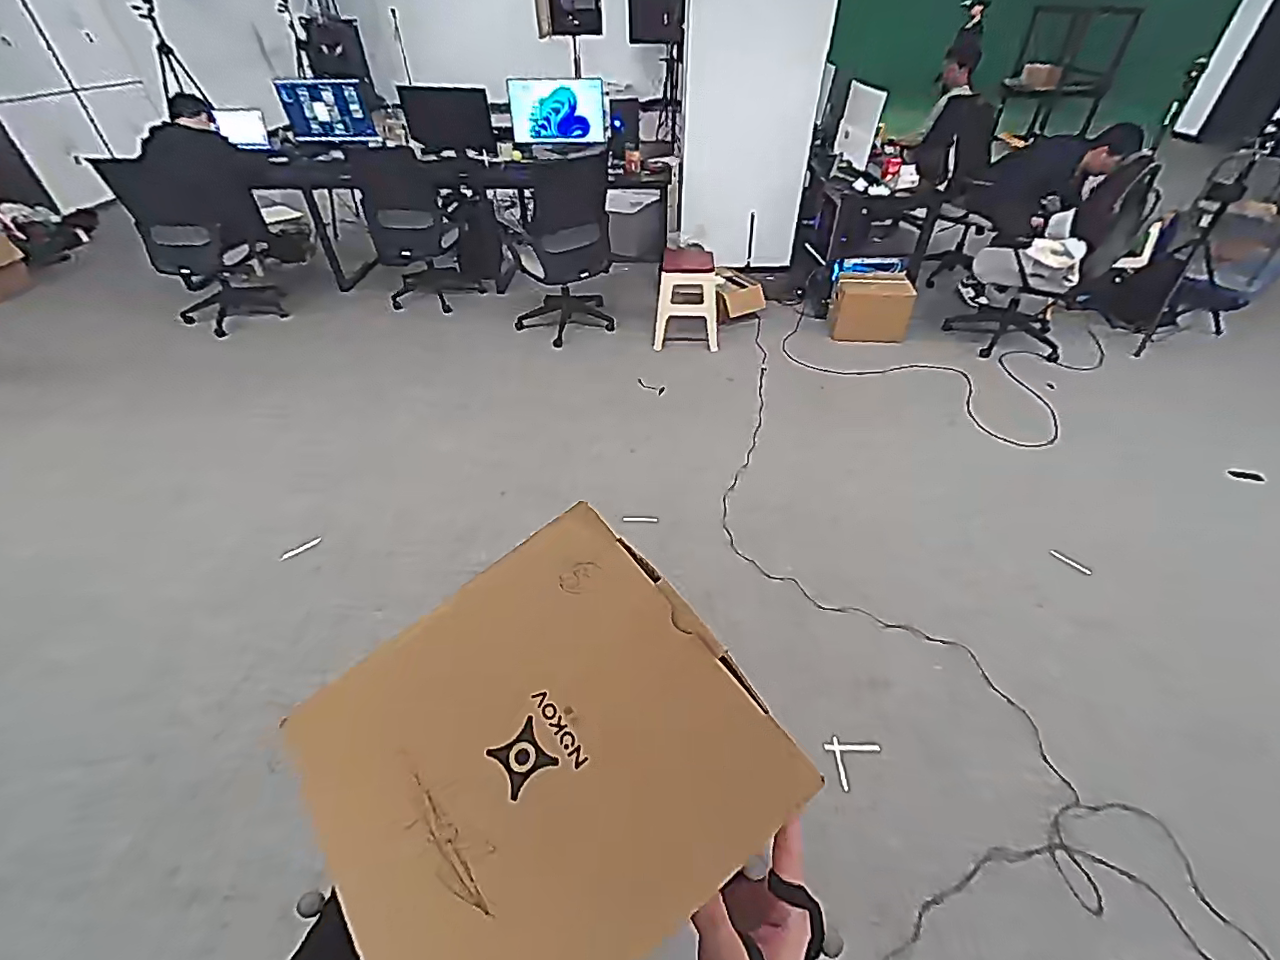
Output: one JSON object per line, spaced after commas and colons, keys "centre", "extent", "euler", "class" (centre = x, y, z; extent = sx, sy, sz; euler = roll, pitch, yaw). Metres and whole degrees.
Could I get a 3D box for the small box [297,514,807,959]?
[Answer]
{"centre": [-0.037, 0.157, 0.307], "extent": [0.179, 0.176, 0.168], "euler": [-38, 62, -13], "class": "small box"}
